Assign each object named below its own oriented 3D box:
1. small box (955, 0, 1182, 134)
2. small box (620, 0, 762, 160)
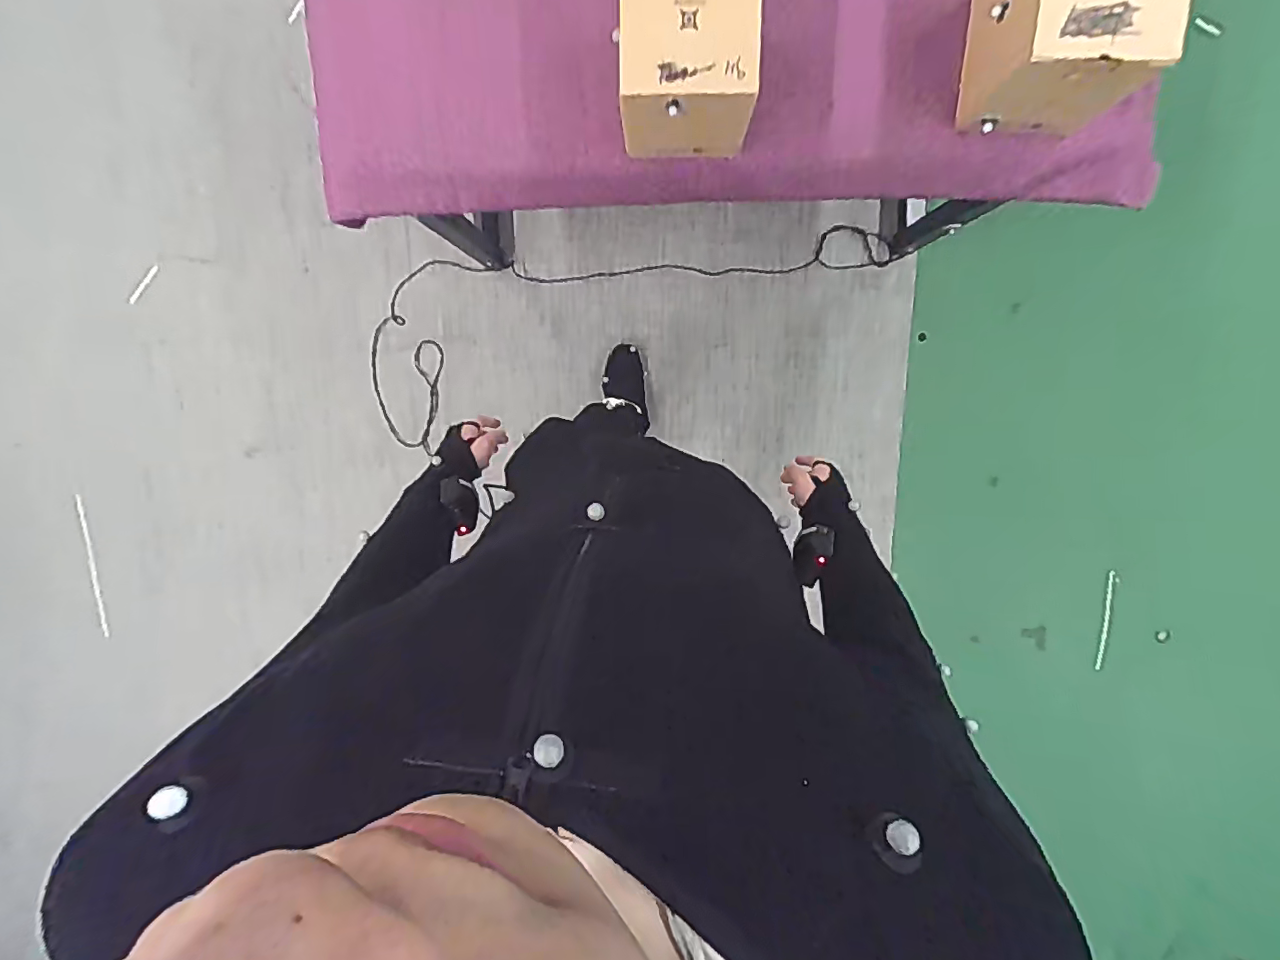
[{"bbox_3d":[0.531,-0.571,0.686,0.168,0.176,0.179,4,98,1],"label":"small box"},{"bbox_3d":[0.060,-0.548,0.702,0.168,0.176,0.179,1,98,2],"label":"small box"}]
